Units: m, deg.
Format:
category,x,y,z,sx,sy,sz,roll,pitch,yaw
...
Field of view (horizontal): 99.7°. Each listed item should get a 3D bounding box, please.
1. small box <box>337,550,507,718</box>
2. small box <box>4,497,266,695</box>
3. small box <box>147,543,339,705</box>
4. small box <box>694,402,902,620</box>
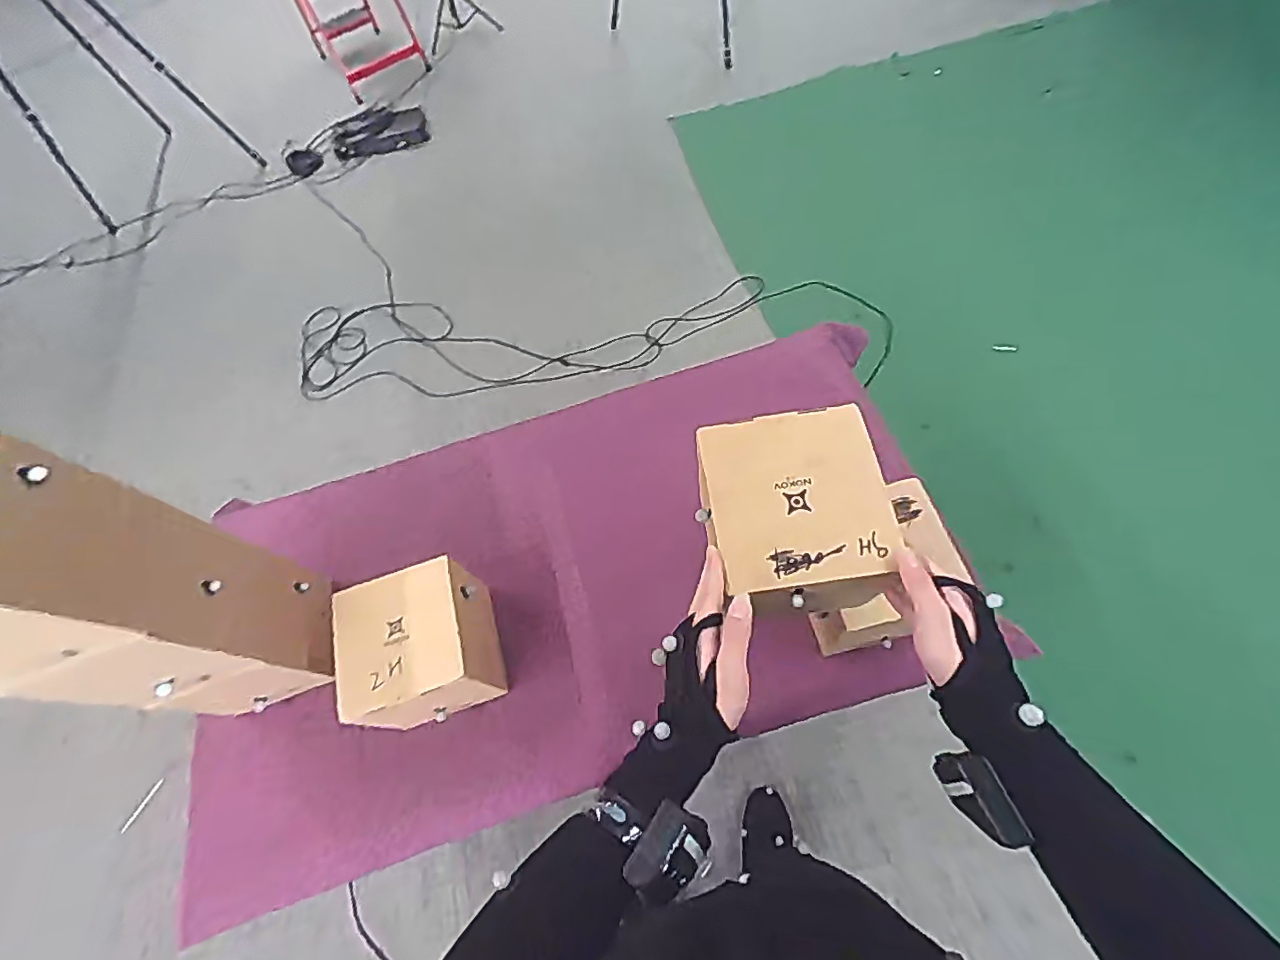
category,x,y,z,sx,sy,sz,roll,pitch,yaw
small box,-0.309,0.229,0.784,0.168,0.176,0.179,-19,63,-2
small box,-0.605,0.152,0.677,0.168,0.176,0.179,-20,64,-2
small box,-0.587,0.224,0.822,0.168,0.176,0.179,-20,64,-2
small box,0.151,0.042,0.585,0.168,0.176,0.179,-9,66,4
